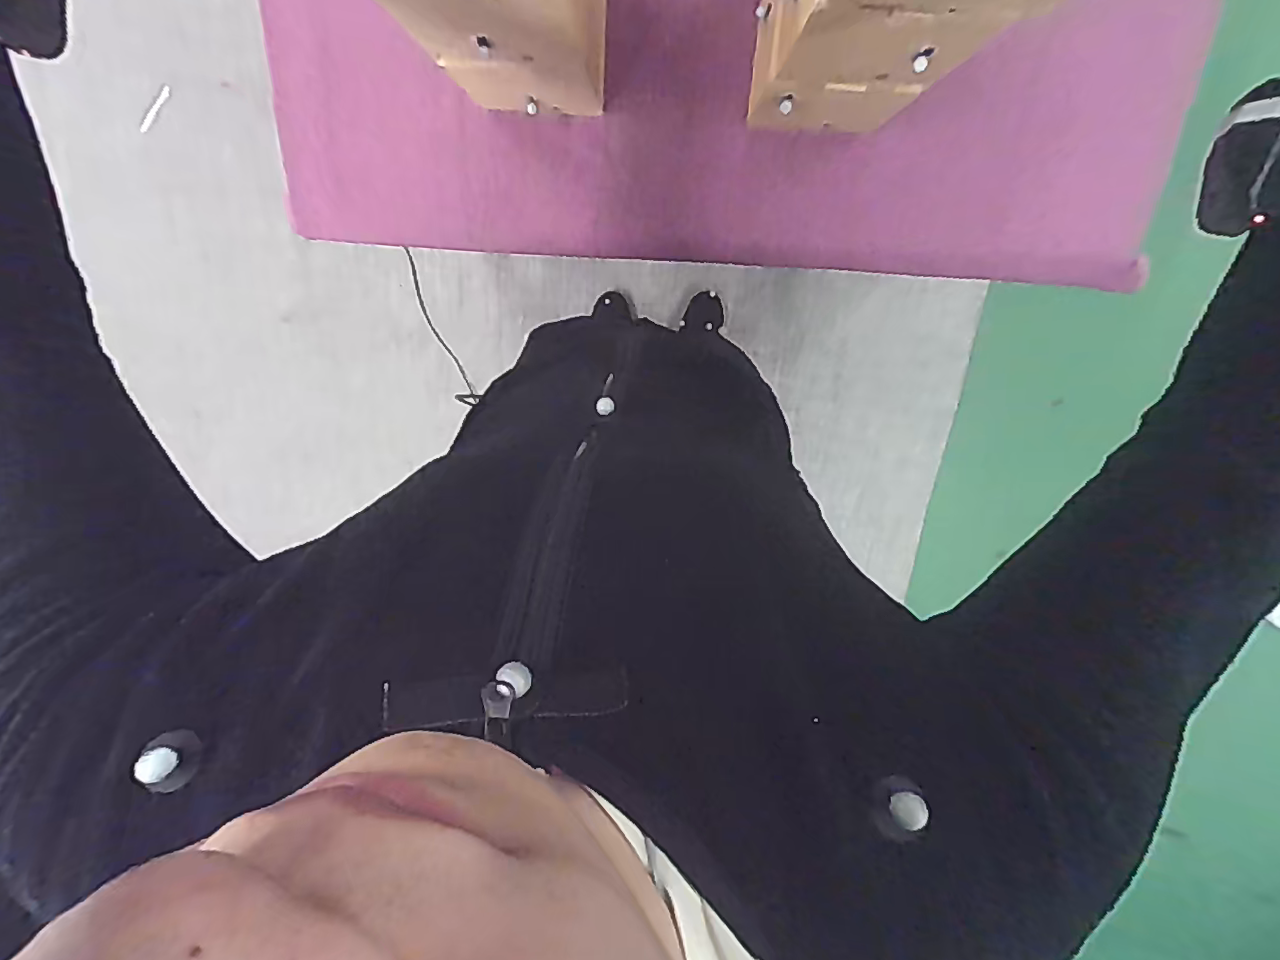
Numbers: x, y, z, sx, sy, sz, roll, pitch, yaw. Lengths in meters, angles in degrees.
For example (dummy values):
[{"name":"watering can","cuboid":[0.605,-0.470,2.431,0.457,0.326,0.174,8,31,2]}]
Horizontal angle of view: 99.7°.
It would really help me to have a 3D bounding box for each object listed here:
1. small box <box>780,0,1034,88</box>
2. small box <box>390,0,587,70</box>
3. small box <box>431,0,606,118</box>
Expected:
[{"name":"small box","cuboid":[0.224,-0.462,0.459,0.168,0.176,0.179,4,110,0]},{"name":"small box","cuboid":[-0.135,-0.488,0.463,0.168,0.176,0.179,3,111,1]},{"name":"small box","cuboid":[-0.130,-0.543,0.617,0.168,0.176,0.179,4,111,1]}]
